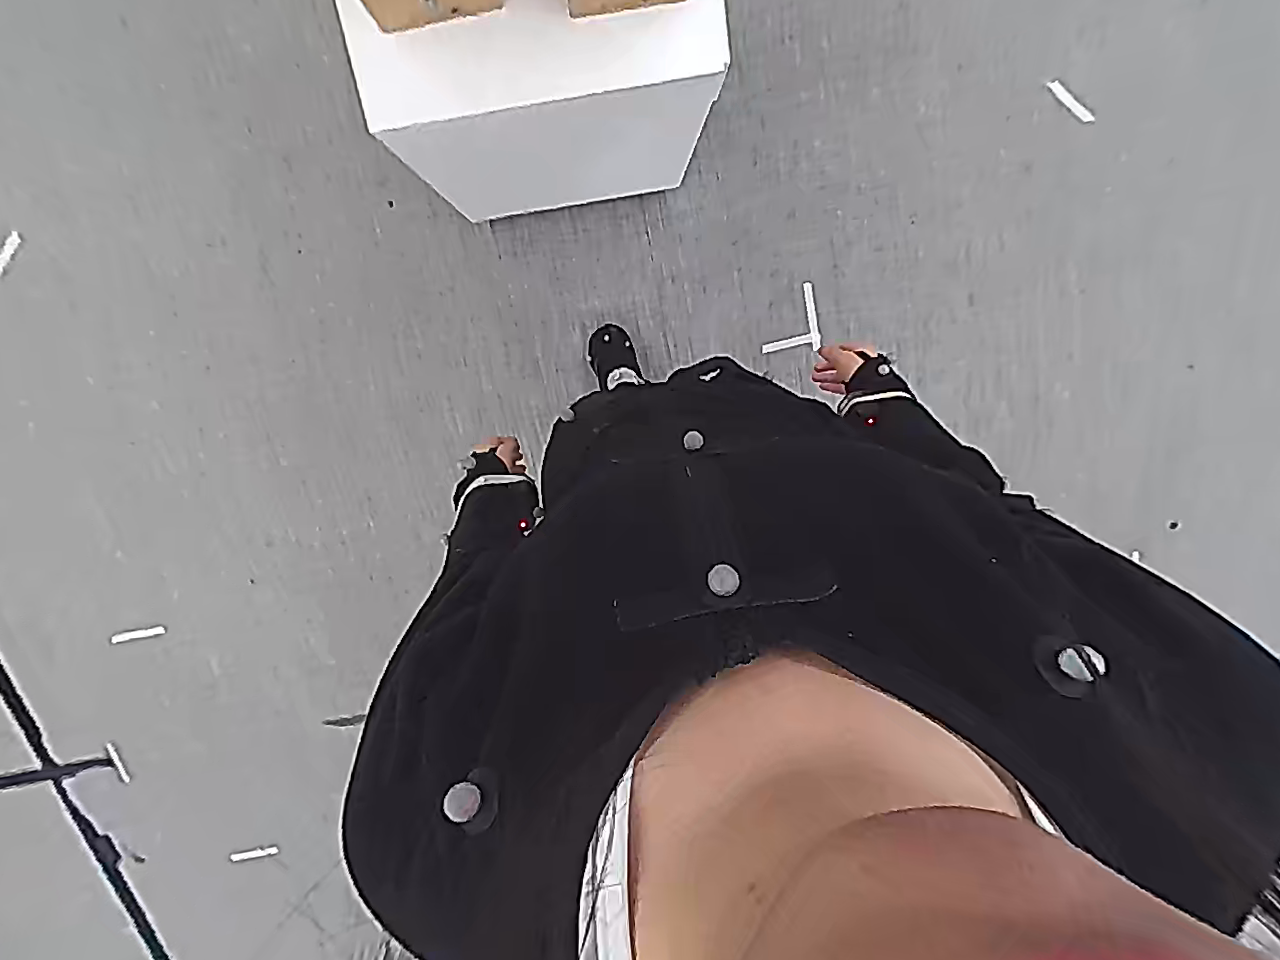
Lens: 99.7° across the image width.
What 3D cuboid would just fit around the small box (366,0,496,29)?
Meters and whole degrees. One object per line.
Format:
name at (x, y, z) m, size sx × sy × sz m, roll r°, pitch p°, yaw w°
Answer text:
small box at (-0.280, -0.680, 0.624) m, size 0.168 × 0.176 × 0.179 m, roll -13°, pitch 104°, yaw 0°

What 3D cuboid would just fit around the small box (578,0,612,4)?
small box at (-0.026, -0.703, 0.631) m, size 0.168 × 0.176 × 0.179 m, roll -10°, pitch 105°, yaw -1°
